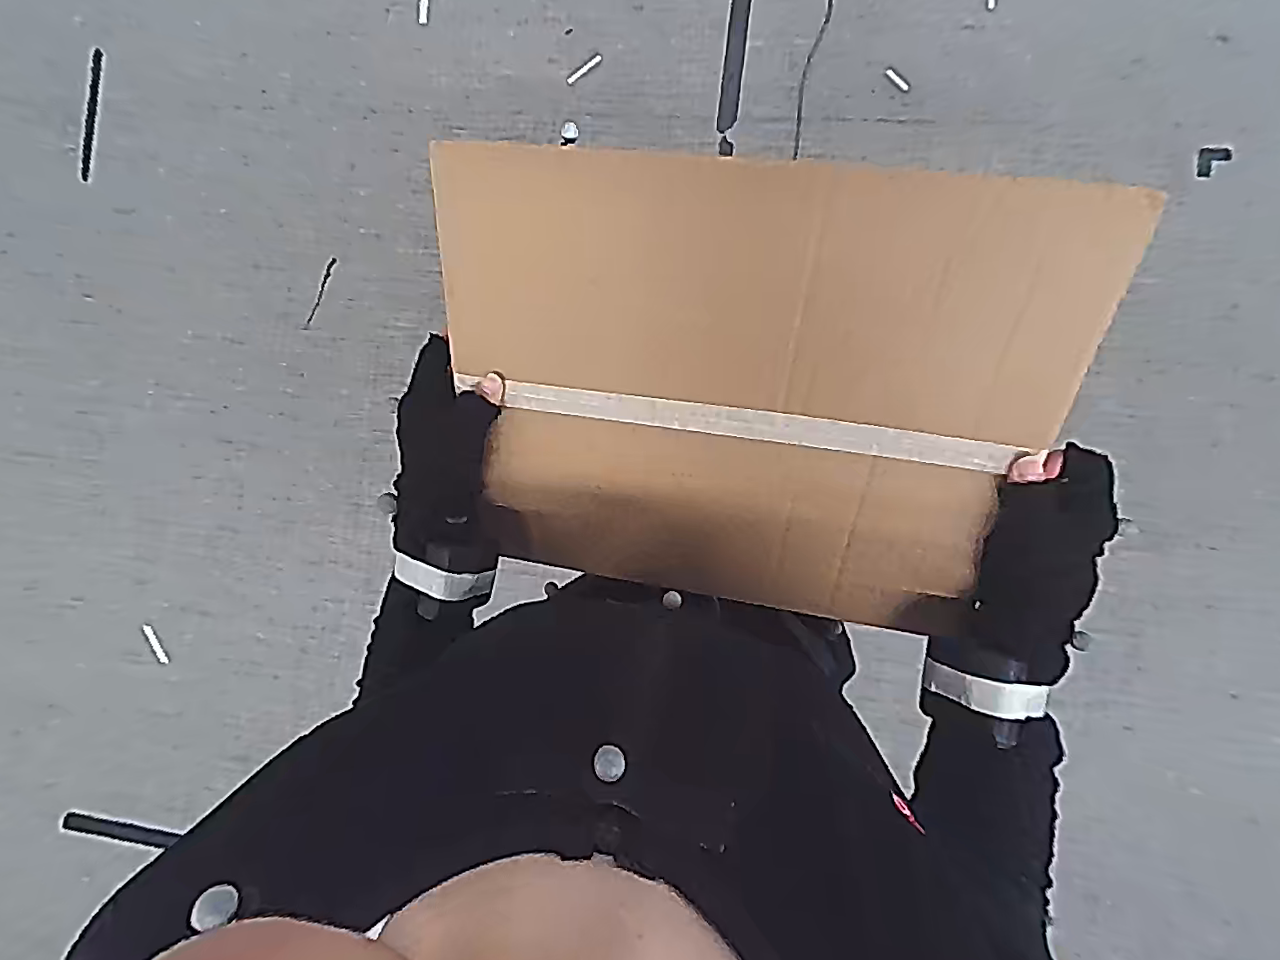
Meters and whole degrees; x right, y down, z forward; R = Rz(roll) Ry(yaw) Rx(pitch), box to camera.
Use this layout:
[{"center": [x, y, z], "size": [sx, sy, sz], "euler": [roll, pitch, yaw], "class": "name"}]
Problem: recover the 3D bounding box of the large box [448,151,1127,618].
[{"center": [0.089, -0.117, 0.518], "size": [0.408, 0.320, 0.320], "euler": [9, 120, 9], "class": "large box"}]
